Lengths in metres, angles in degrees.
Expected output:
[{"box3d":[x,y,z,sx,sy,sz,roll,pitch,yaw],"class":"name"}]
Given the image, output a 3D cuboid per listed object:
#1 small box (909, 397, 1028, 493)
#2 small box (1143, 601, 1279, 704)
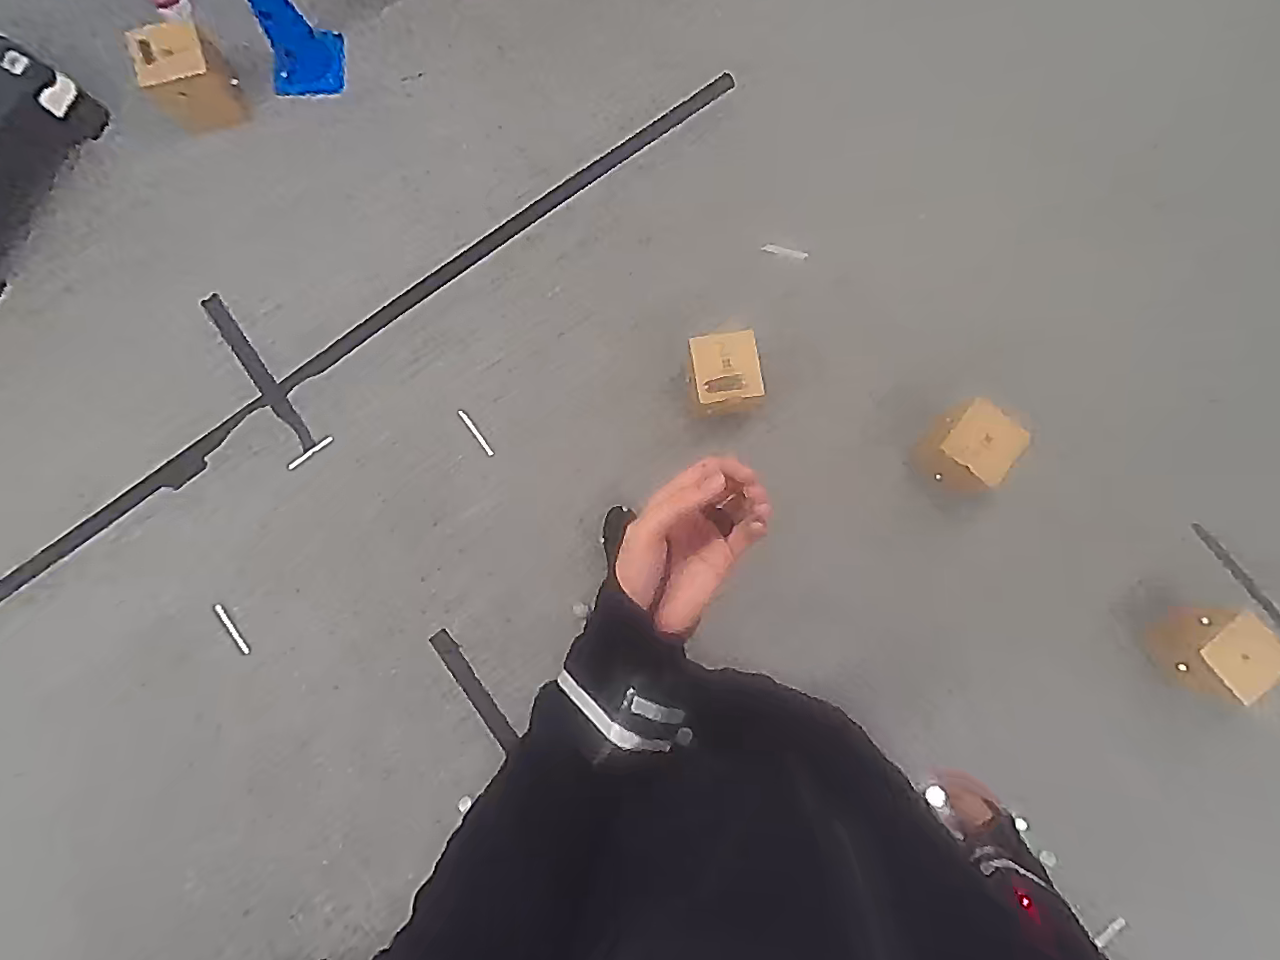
[{"box3d":[0.848,-0.084,1.417,0.168,0.176,0.179,38,84,3],"class":"small box"},{"box3d":[1.444,0.426,1.368,0.179,0.176,0.168,-39,85,-6],"class":"small box"}]
